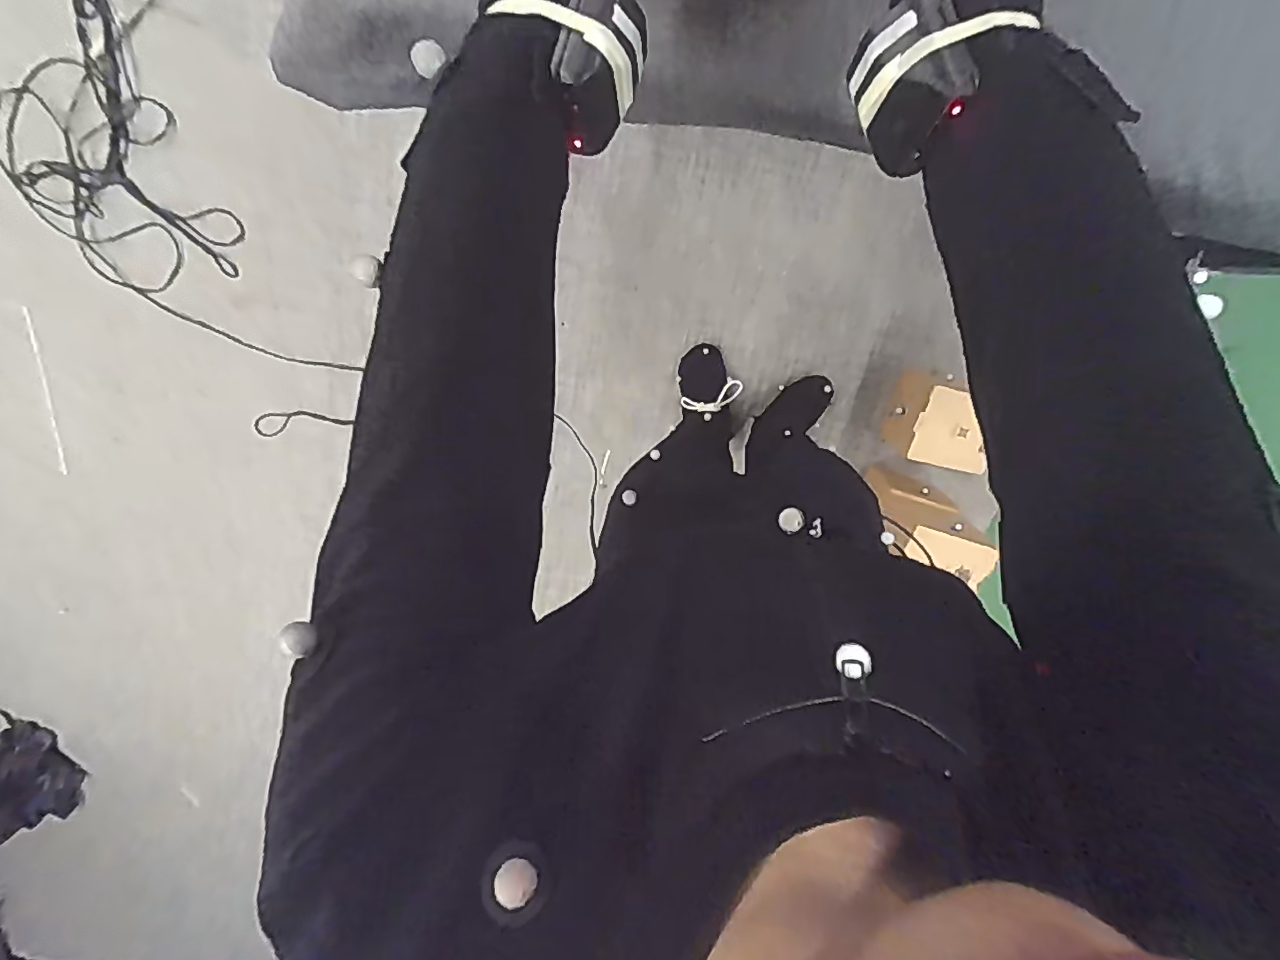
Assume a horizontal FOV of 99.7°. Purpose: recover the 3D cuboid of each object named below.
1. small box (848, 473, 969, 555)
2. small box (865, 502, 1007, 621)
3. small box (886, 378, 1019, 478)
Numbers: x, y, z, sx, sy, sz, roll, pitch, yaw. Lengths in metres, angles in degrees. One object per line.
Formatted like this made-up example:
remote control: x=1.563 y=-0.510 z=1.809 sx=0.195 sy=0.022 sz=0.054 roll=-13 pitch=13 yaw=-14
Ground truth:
small box: x=0.629 y=0.099 z=1.291 sx=0.179 sy=0.176 sz=0.168 roll=18 pitch=111 yaw=0
small box: x=0.610 y=0.164 z=1.140 sx=0.179 sy=0.176 sz=0.168 roll=17 pitch=110 yaw=0
small box: x=0.678 y=-0.123 z=1.200 sx=0.179 sy=0.176 sz=0.168 roll=12 pitch=110 yaw=1
